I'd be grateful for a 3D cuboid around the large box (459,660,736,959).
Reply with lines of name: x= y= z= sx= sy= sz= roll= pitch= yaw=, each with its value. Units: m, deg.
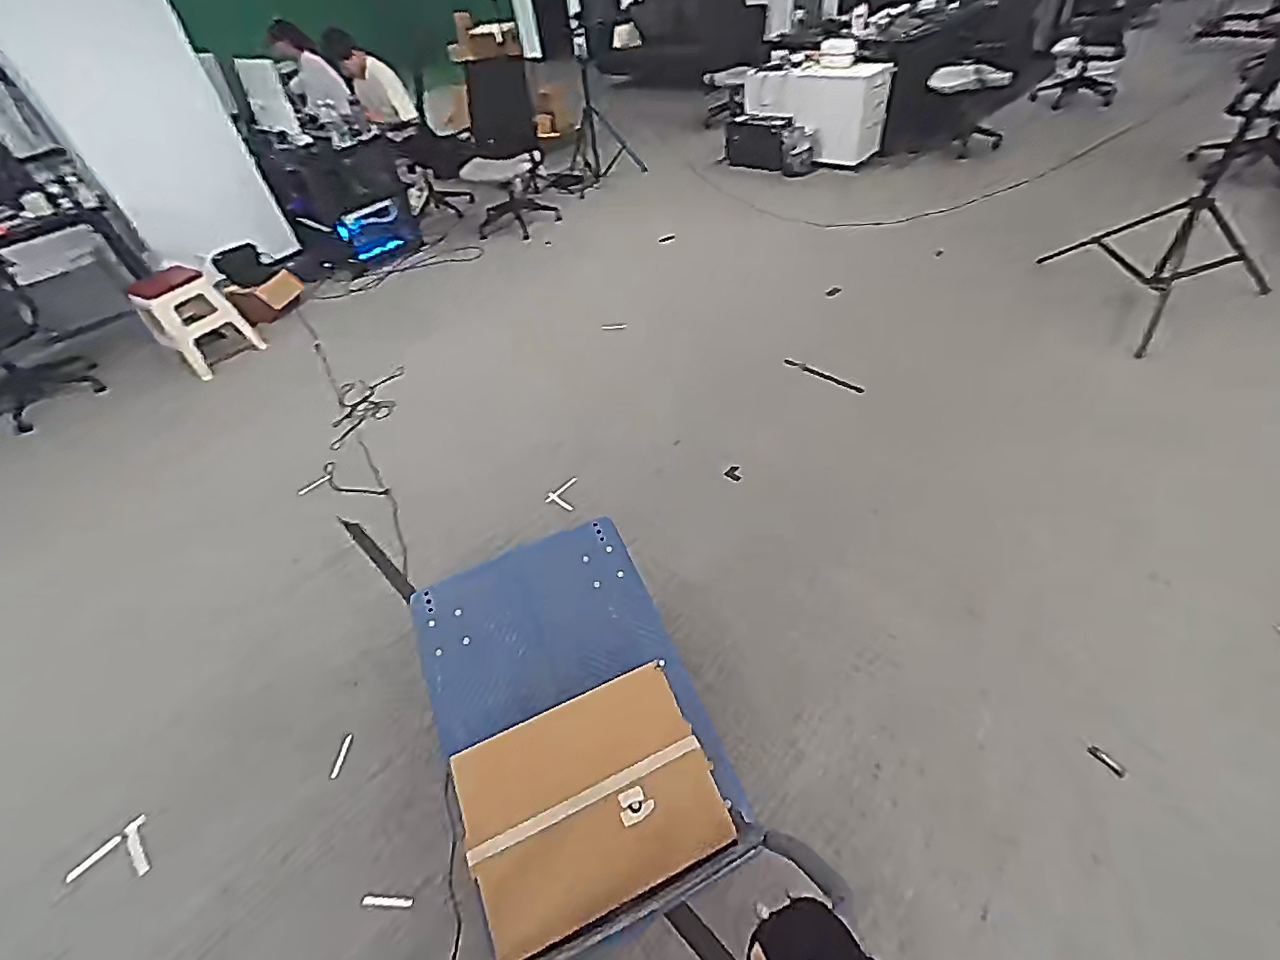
large box: x=-0.079 y=0.617 z=1.051 sx=0.408 sy=0.320 sz=0.320 roll=-22 pitch=60 yaw=-13
